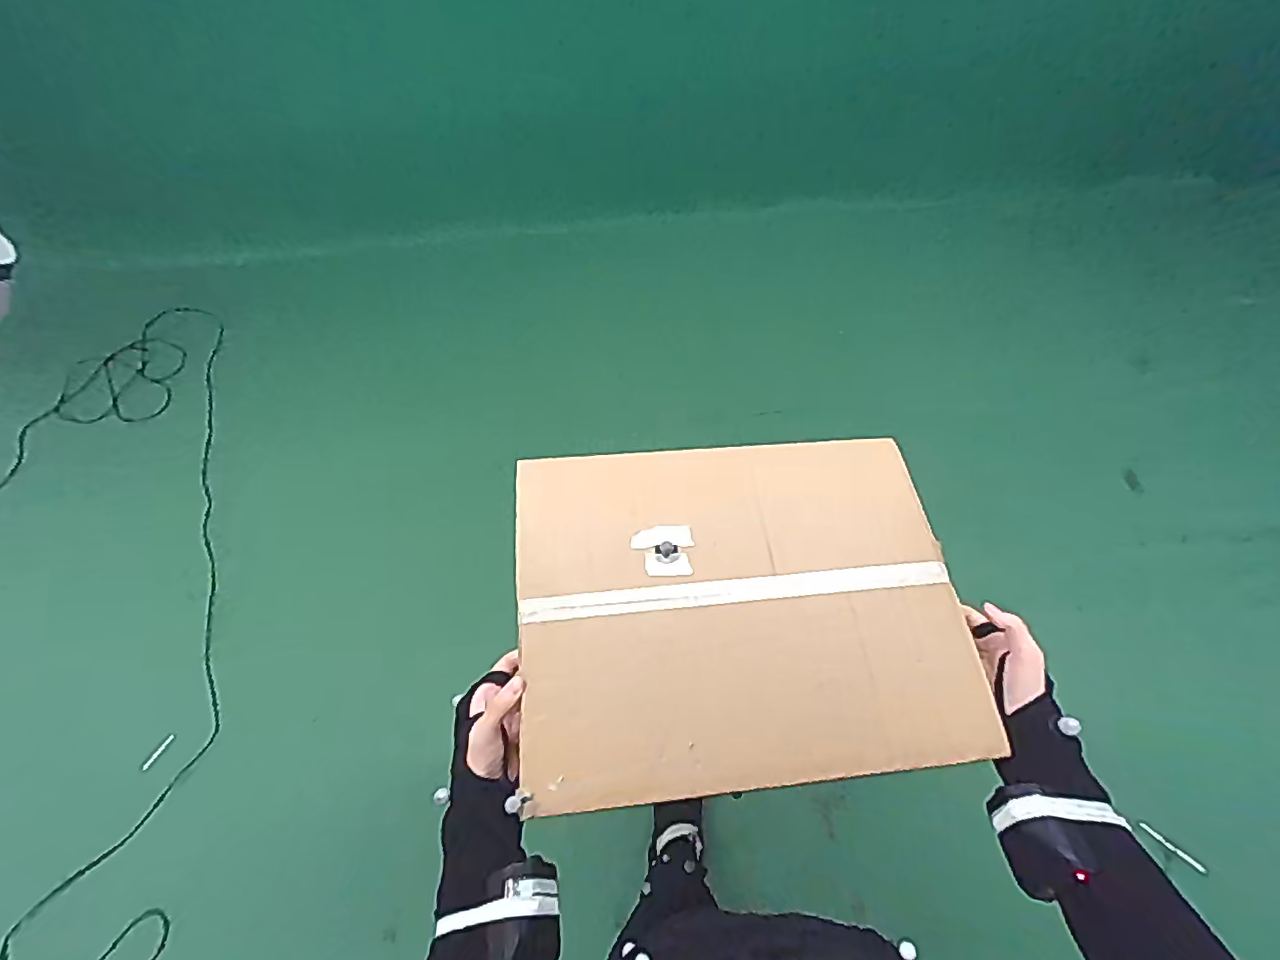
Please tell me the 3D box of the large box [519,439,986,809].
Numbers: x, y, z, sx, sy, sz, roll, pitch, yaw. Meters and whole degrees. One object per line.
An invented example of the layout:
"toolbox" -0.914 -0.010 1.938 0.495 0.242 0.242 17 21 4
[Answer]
"large box" 0.084 0.172 0.646 0.408 0.320 0.320 -4 63 -5
